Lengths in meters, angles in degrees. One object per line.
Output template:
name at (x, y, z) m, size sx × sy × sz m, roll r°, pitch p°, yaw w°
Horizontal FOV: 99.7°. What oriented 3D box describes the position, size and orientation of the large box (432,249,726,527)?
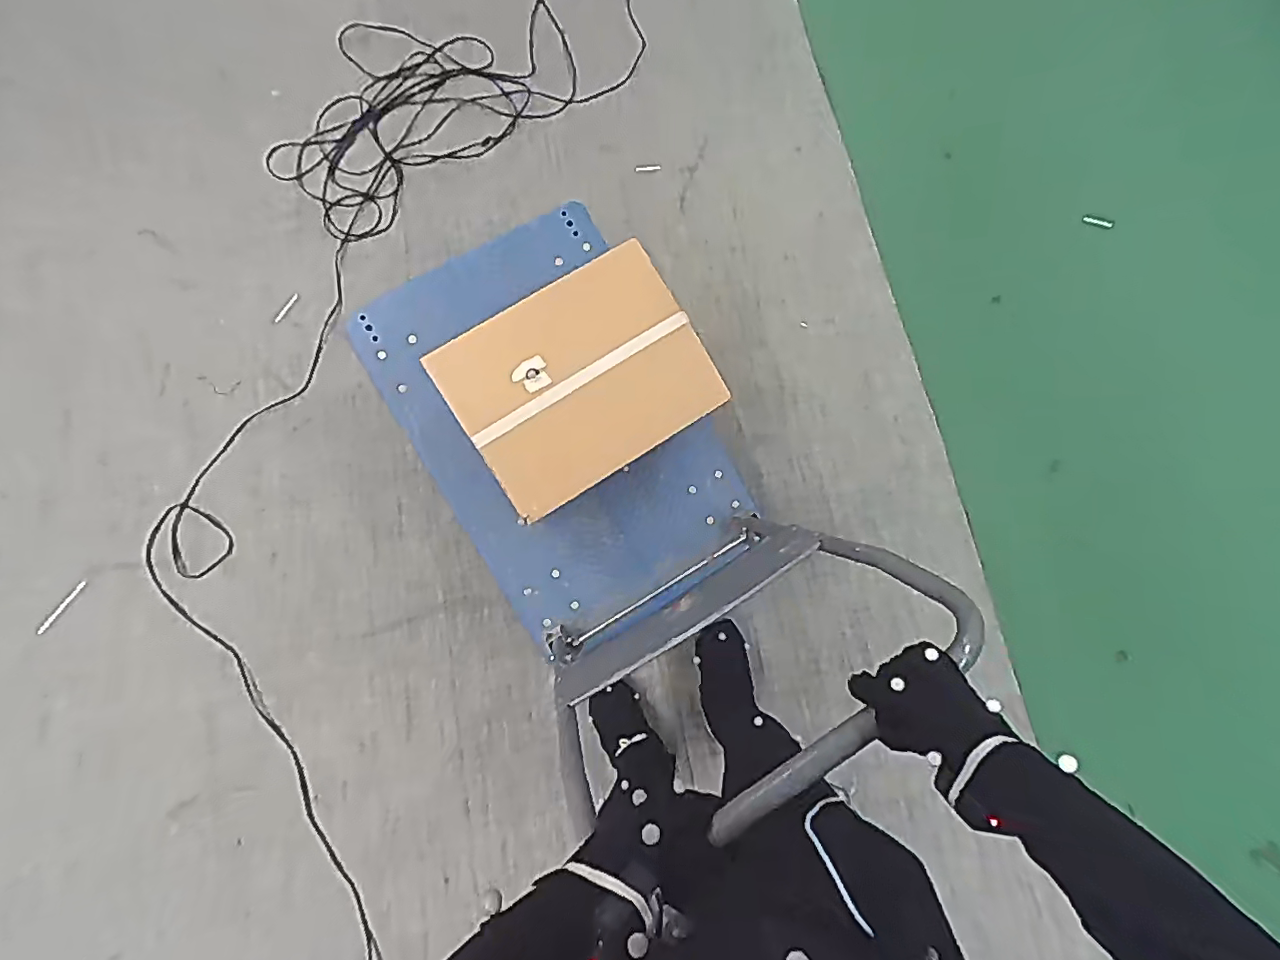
large box at (-0.111, -0.159, 1.048) m, size 0.408 × 0.320 × 0.320 m, roll -33°, pitch 93°, yaw -6°
